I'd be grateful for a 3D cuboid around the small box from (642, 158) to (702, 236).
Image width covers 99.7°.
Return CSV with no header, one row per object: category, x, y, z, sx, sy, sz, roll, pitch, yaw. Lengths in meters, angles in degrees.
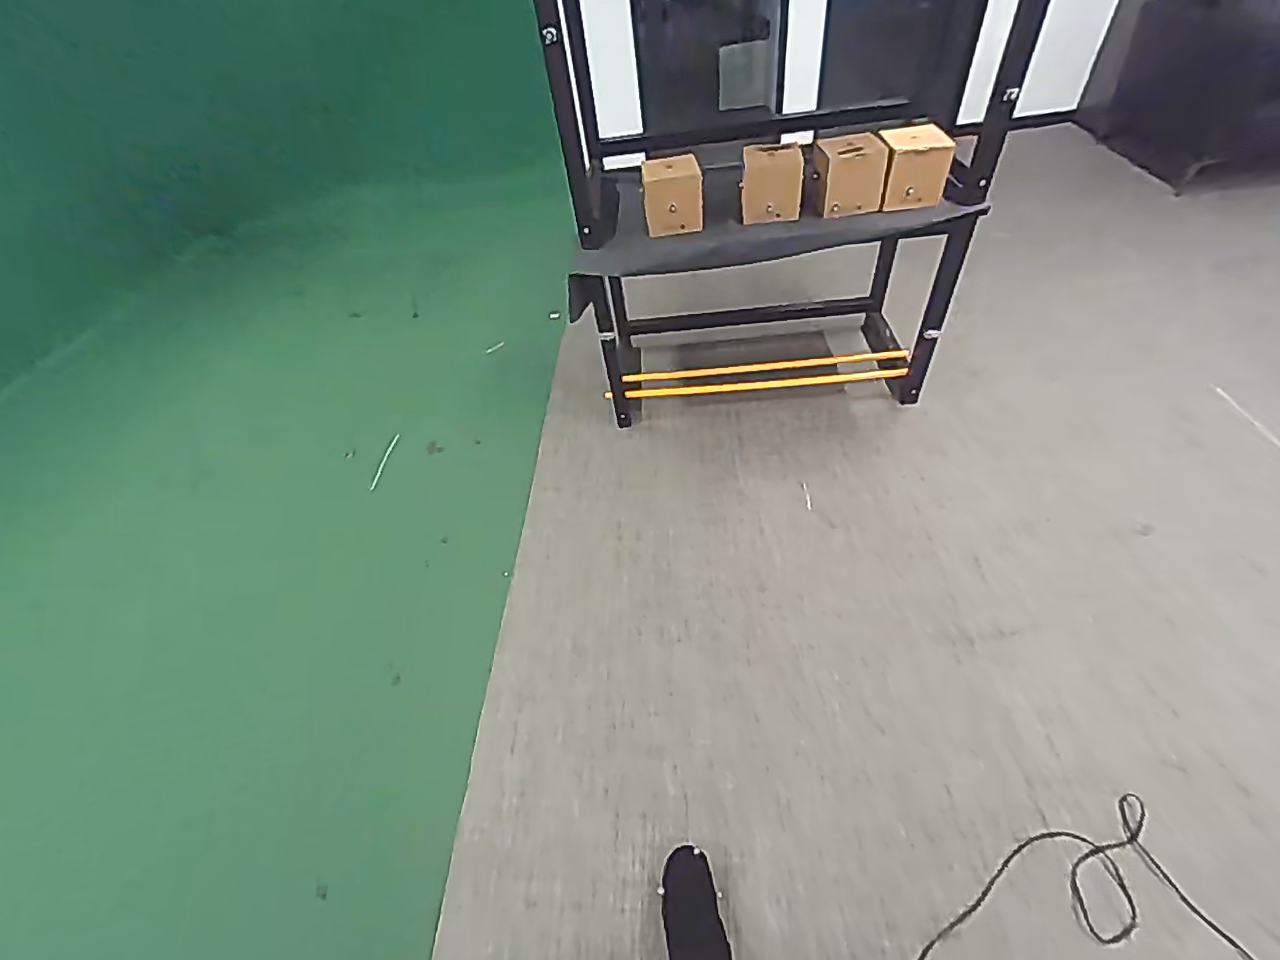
small box,0.101,-0.872,1.680,0.168,0.176,0.179,-7,46,2
